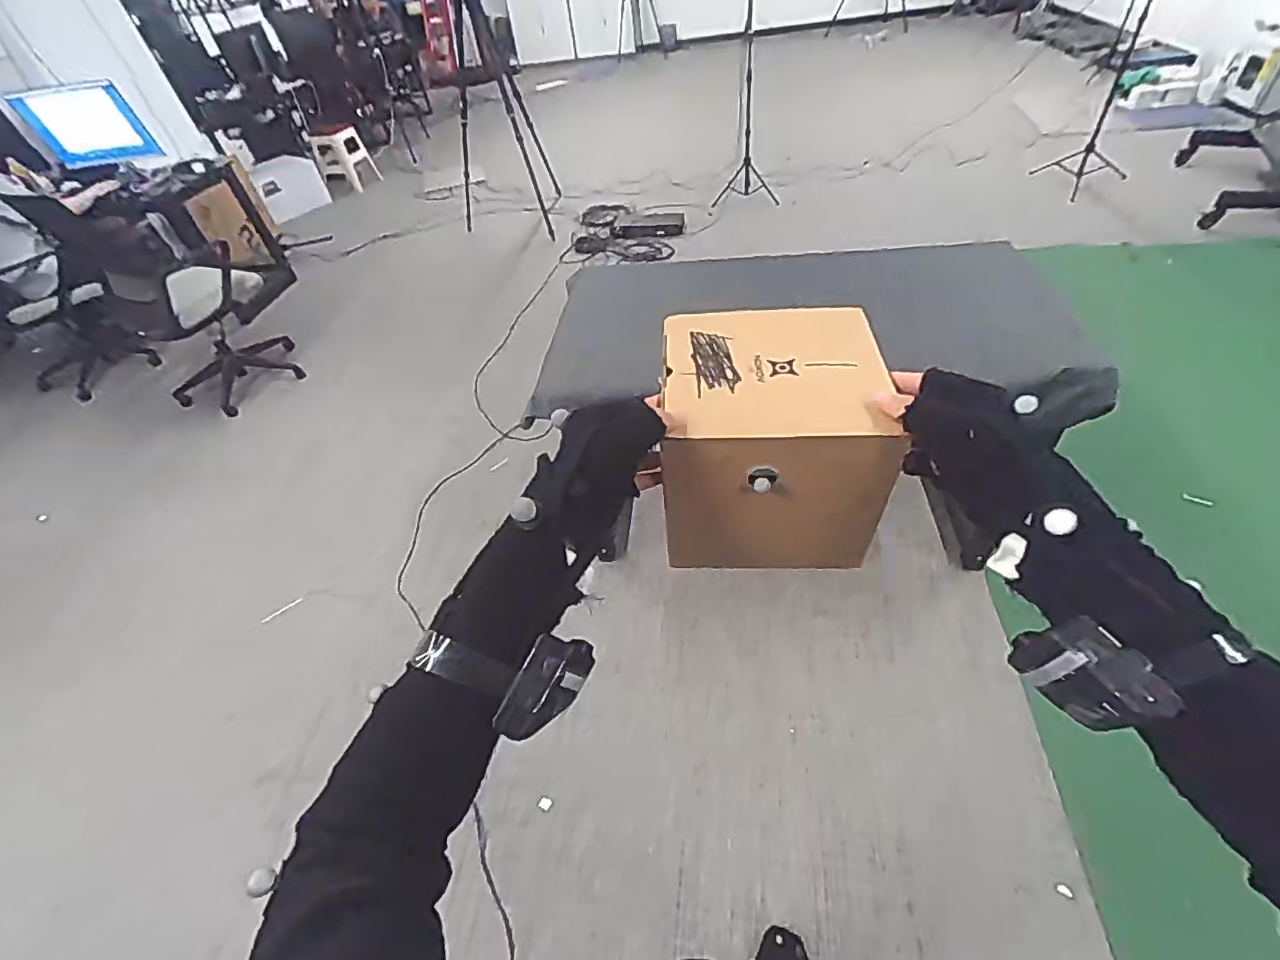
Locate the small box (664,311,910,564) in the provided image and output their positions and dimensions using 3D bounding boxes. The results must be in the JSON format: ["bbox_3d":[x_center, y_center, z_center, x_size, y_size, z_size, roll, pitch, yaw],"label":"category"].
[{"bbox_3d":[0.116,-0.035,0.496,0.179,0.176,0.168,-1,48,5],"label":"small box"}]
